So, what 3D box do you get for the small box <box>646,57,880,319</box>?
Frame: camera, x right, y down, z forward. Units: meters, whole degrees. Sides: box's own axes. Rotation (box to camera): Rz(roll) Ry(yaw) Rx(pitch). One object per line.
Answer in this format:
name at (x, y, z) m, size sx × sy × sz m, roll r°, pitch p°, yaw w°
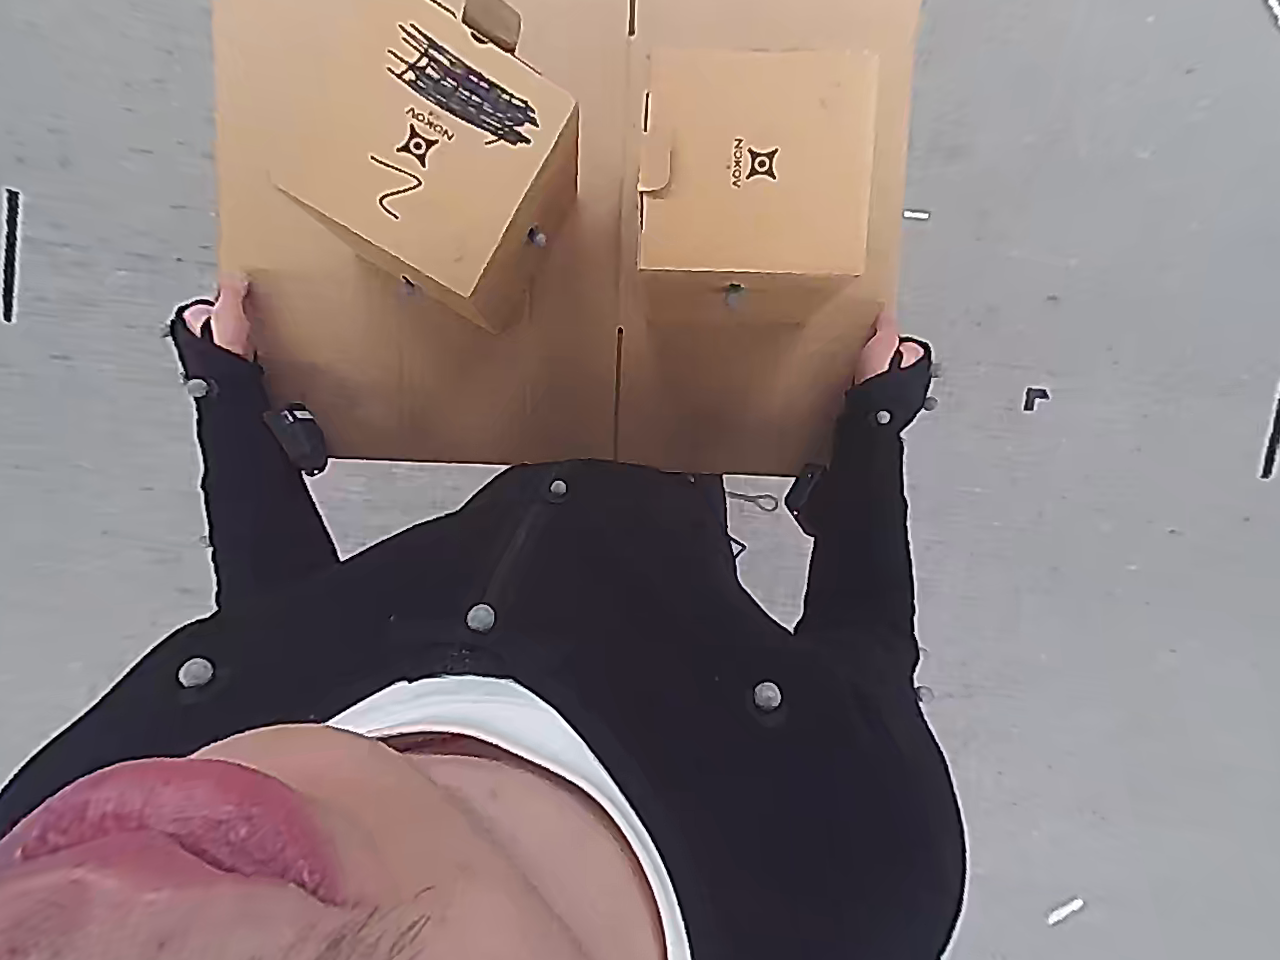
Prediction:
small box at (0.100, -0.252, 0.506) m, size 0.179 × 0.176 × 0.168 m, roll 3°, pitch 95°, yaw 4°
